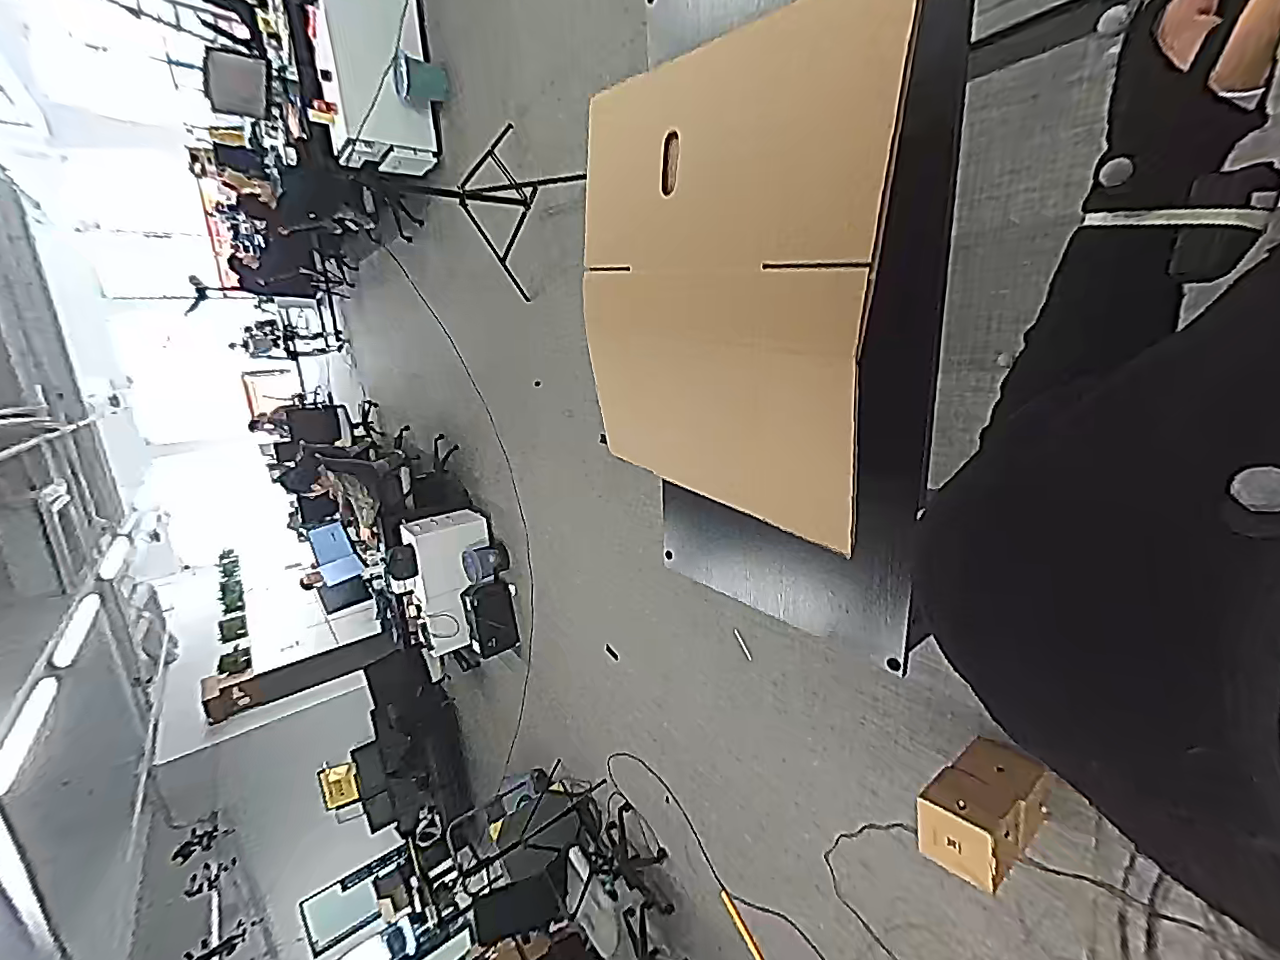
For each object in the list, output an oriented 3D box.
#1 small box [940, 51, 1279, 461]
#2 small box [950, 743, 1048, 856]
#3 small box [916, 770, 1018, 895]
[{"bbox_3d":[0.358,-0.134,0.391,0.168,0.179,0.176,-32,70,9],"label":"small box"},{"bbox_3d":[0.959,0.842,1.452,0.179,0.176,0.168,11,110,51],"label":"small box"},{"bbox_3d":[0.827,0.873,1.363,0.179,0.176,0.168,7,105,54],"label":"small box"}]
